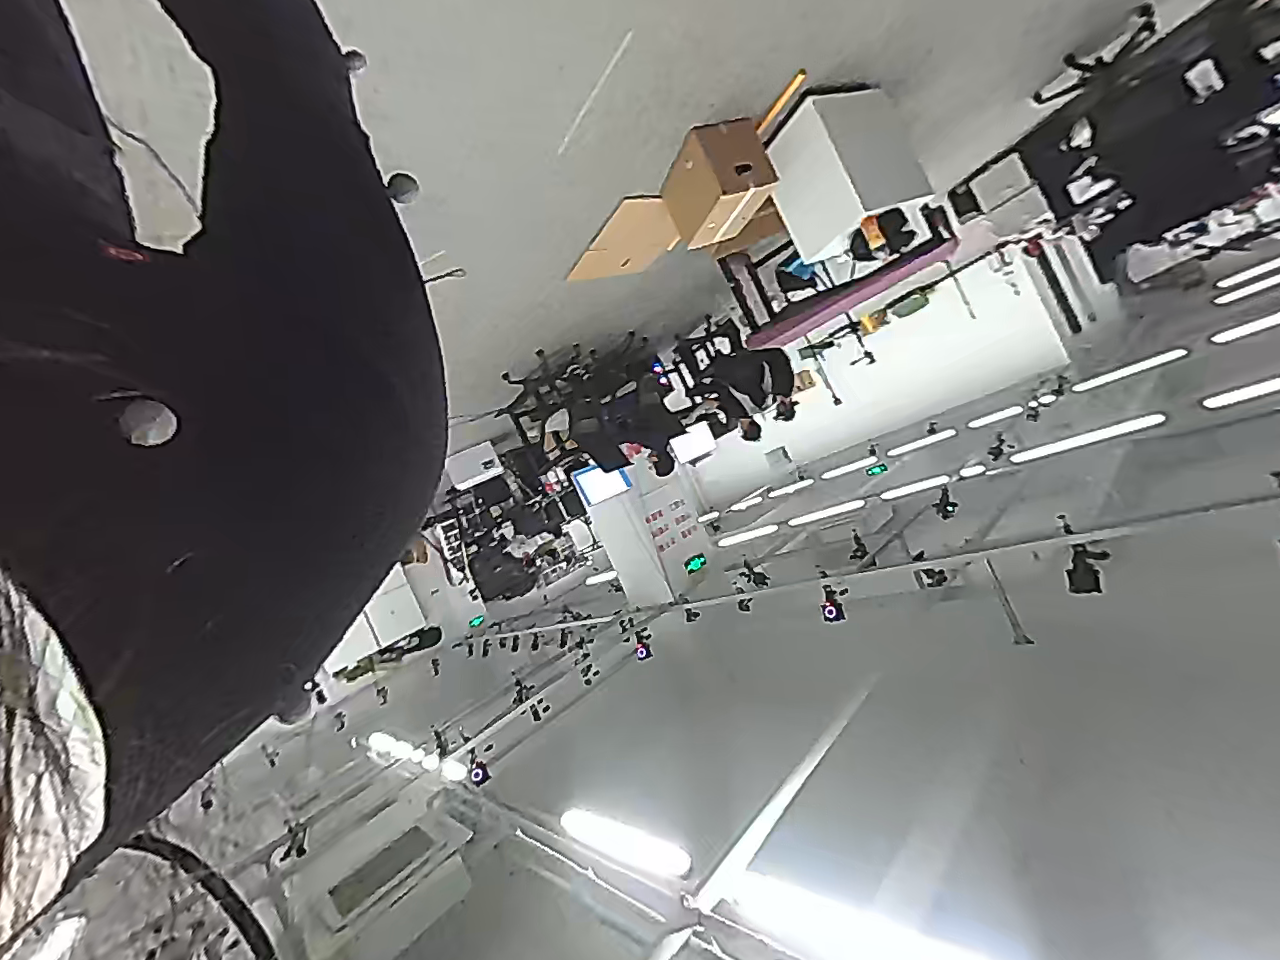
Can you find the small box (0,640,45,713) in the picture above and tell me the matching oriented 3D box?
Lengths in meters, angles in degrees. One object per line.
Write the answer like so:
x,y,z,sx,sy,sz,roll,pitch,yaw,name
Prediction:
-1.688,0.522,1.371,0.179,0.176,0.168,-25,180,-37,small box
